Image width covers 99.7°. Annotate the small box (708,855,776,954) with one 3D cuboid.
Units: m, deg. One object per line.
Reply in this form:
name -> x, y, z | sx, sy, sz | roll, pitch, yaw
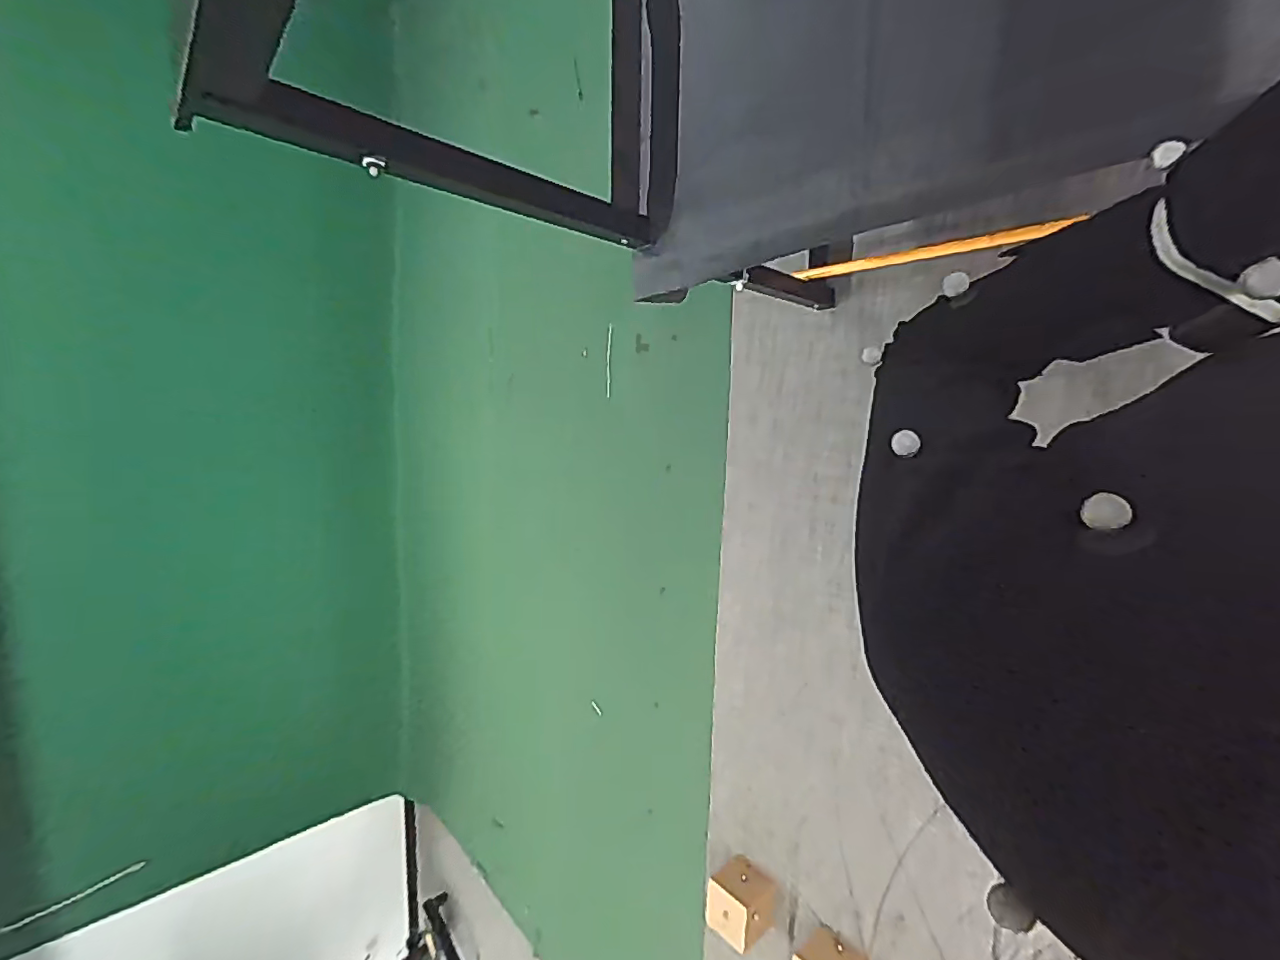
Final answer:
small box -> 0.355, 1.455, 1.871 | 0.168, 0.176, 0.179 | 10, 101, 47
